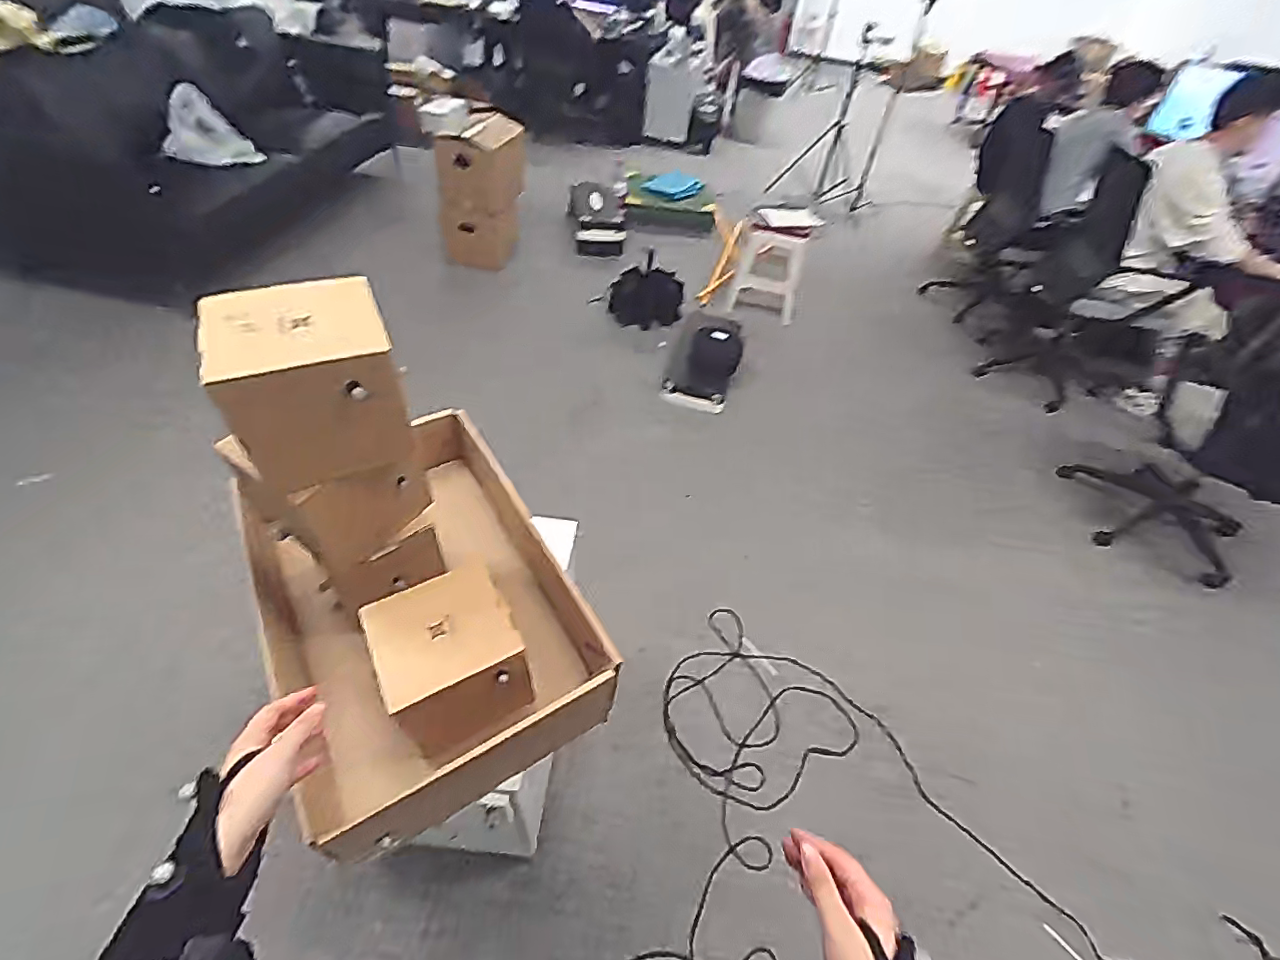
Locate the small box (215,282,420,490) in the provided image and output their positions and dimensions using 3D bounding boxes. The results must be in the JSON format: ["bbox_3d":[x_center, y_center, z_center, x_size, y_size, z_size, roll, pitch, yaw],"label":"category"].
[{"bbox_3d":[-0.385,-0.116,0.669,0.179,0.176,0.168,-18,52,-21],"label":"small box"}]

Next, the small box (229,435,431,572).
[{"bbox_3d":[-0.428,-0.003,0.785,0.168,0.176,0.179,28,52,18],"label":"small box"}]
